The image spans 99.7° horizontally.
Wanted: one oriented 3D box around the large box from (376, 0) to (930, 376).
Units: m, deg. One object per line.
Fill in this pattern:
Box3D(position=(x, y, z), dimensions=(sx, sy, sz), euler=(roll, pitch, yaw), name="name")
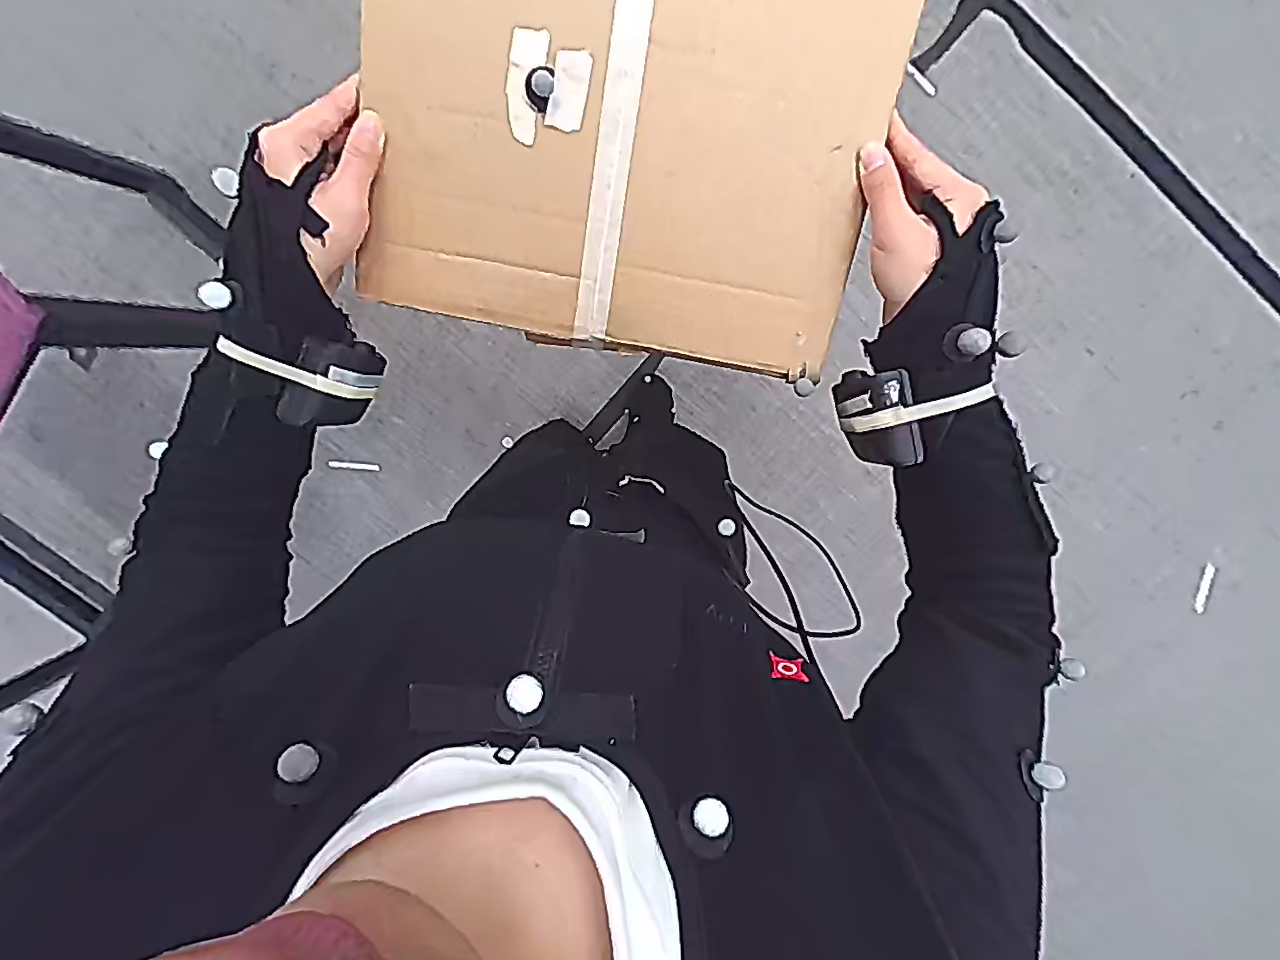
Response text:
Box3D(position=(0.011, -0.324, 0.439), dimensions=(0.320, 0.320, 0.408), euler=(9, 108, -1), name="large box")
